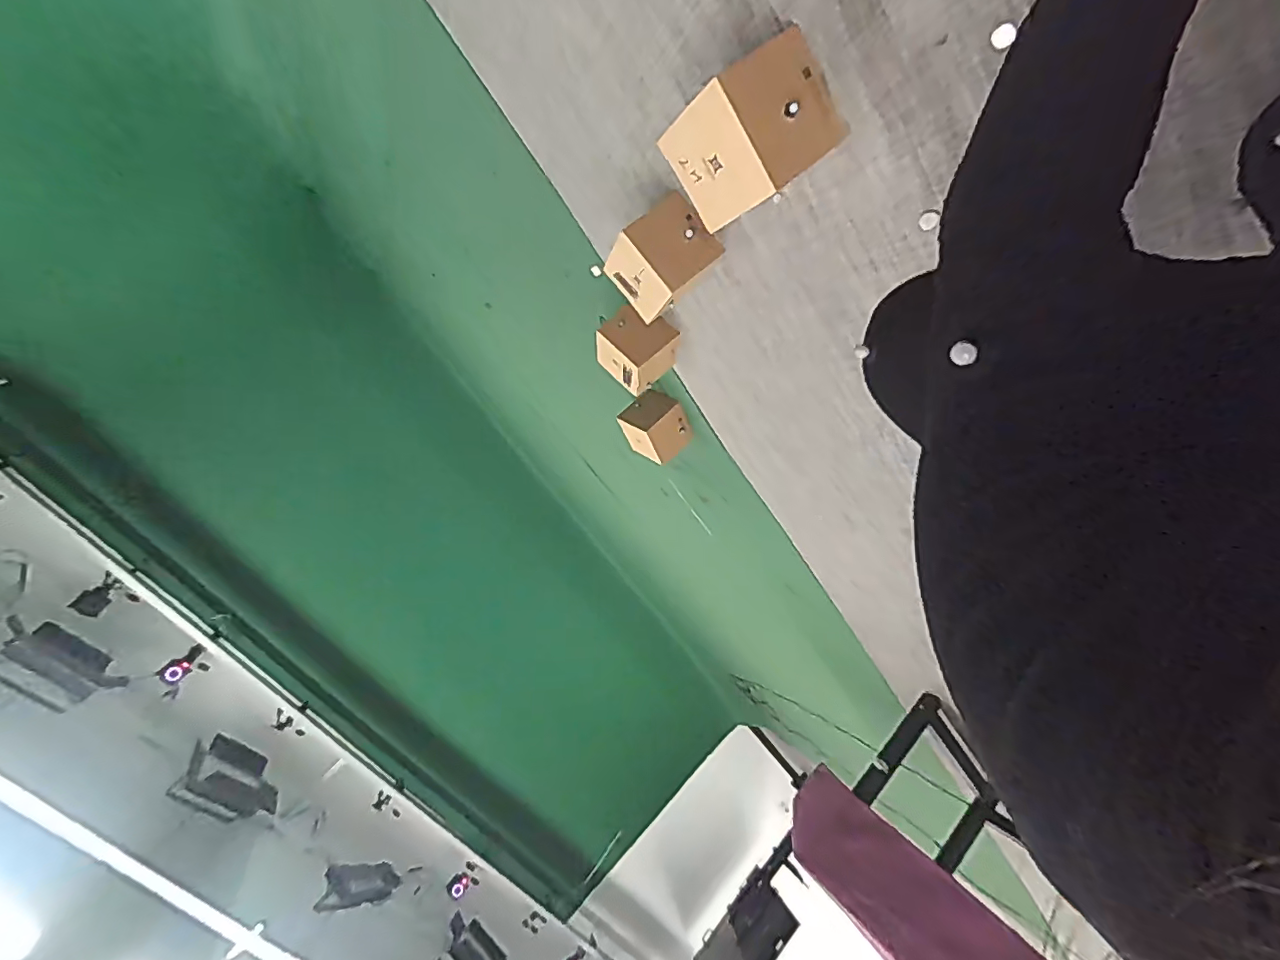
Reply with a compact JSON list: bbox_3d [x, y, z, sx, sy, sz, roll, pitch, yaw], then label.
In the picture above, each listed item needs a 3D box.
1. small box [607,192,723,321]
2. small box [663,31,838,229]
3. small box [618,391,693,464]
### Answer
[{"bbox_3d":[0.055,-0.494,1.208,0.168,0.176,0.179,50,163,-7],"label":"small box"},{"bbox_3d":[0.174,-0.528,0.829,0.168,0.176,0.179,54,163,-19],"label":"small box"},{"bbox_3d":[0.058,-0.192,1.913,0.179,0.176,0.168,32,157,44],"label":"small box"}]
